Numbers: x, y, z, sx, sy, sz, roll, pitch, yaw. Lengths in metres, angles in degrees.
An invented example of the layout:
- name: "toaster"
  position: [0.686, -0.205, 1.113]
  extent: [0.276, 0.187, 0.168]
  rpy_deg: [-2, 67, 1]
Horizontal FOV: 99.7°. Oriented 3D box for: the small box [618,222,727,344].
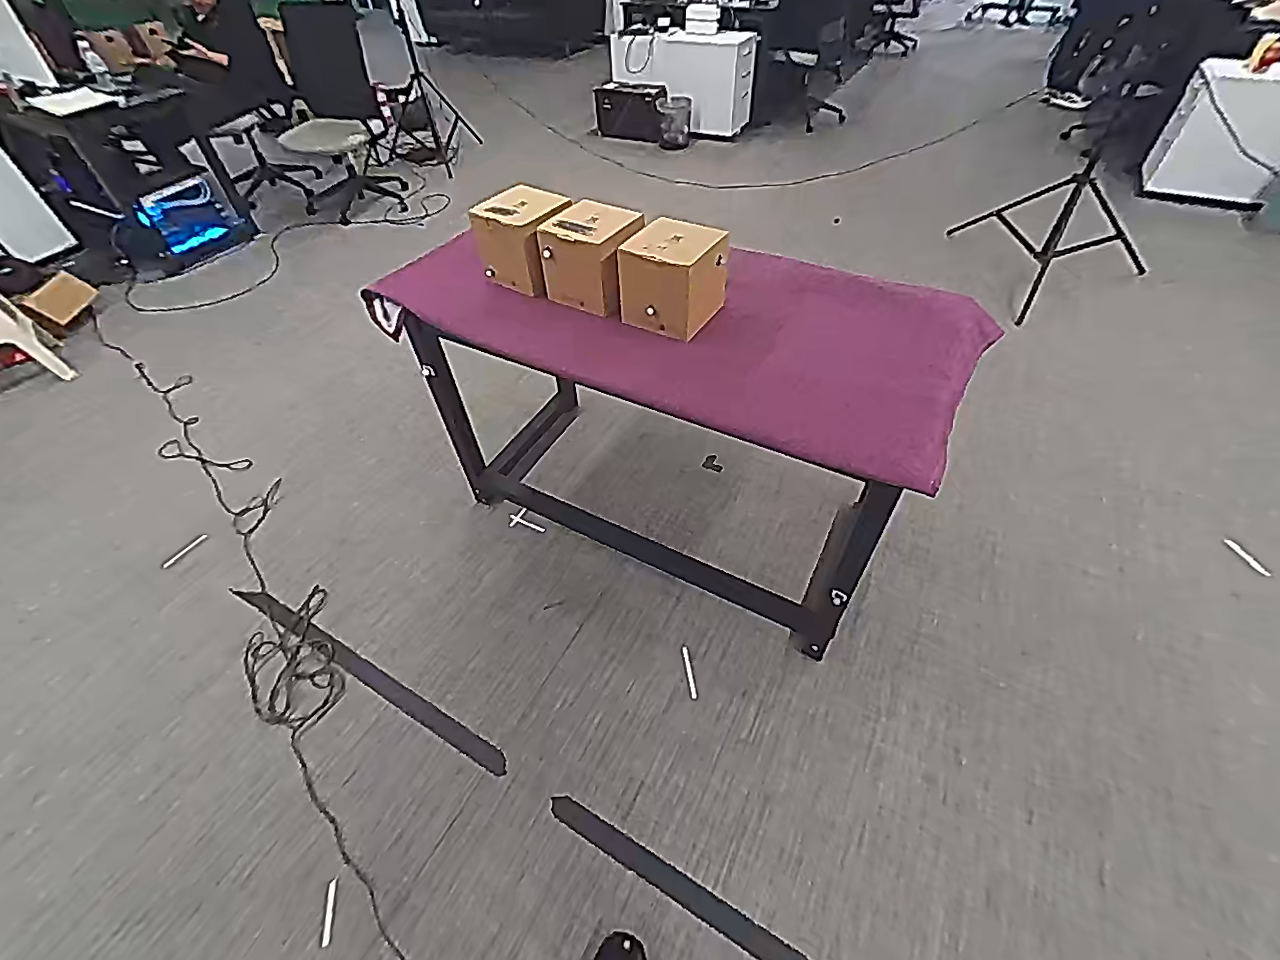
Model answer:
- name: "small box"
  position: [0.069, -0.420, 1.150]
  extent: [0.168, 0.176, 0.179]
  rpy_deg: [23, 53, 23]
